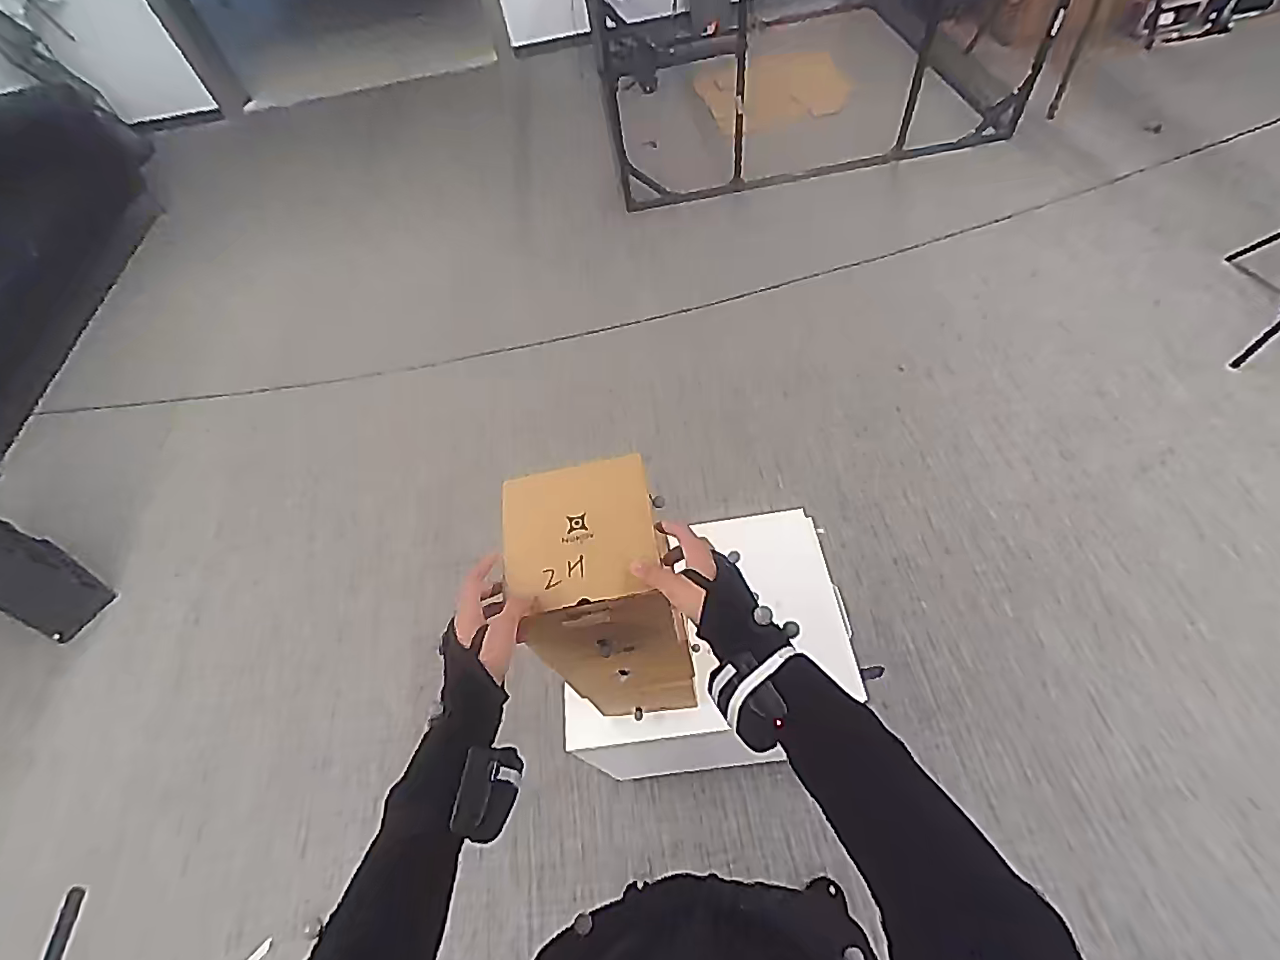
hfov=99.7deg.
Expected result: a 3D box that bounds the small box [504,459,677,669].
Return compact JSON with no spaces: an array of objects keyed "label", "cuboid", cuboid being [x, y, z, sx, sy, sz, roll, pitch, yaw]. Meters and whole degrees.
[{"label":"small box","cuboid":[-0.054,0.104,0.644,0.168,0.176,0.179,-11,54,2]}]

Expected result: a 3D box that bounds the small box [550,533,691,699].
[{"label":"small box","cuboid":[-0.025,0.199,0.775,0.179,0.176,0.168,-12,54,2]}]

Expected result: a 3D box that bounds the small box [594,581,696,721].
[{"label":"small box","cuboid":[0.001,0.290,0.909,0.168,0.176,0.179,-8,55,4]}]
